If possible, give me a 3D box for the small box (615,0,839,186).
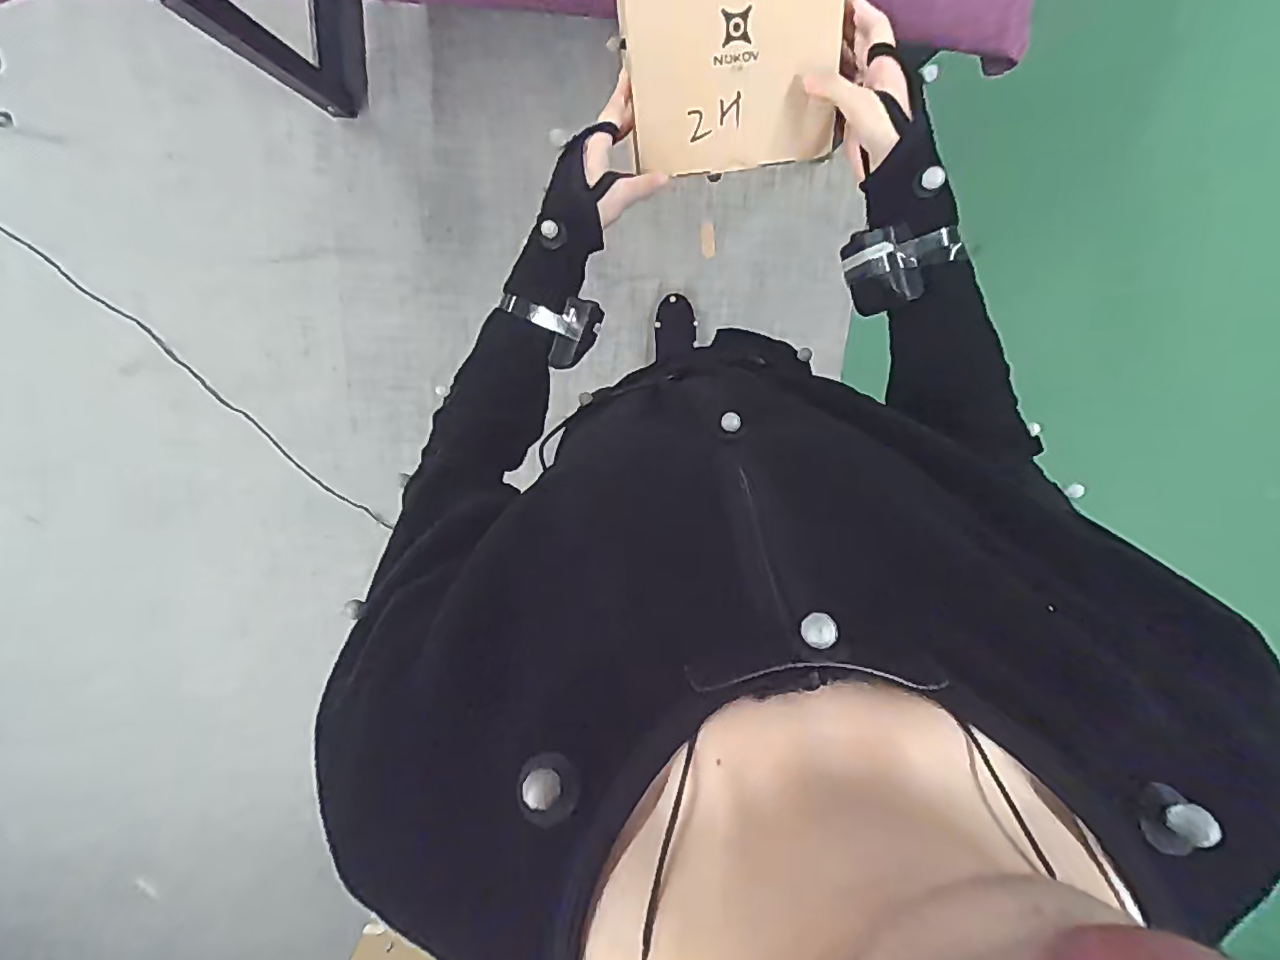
[{"bbox_3d":[0.066,-0.375,0.482,0.168,0.176,0.179,-6,124,2],"label":"small box"}]
